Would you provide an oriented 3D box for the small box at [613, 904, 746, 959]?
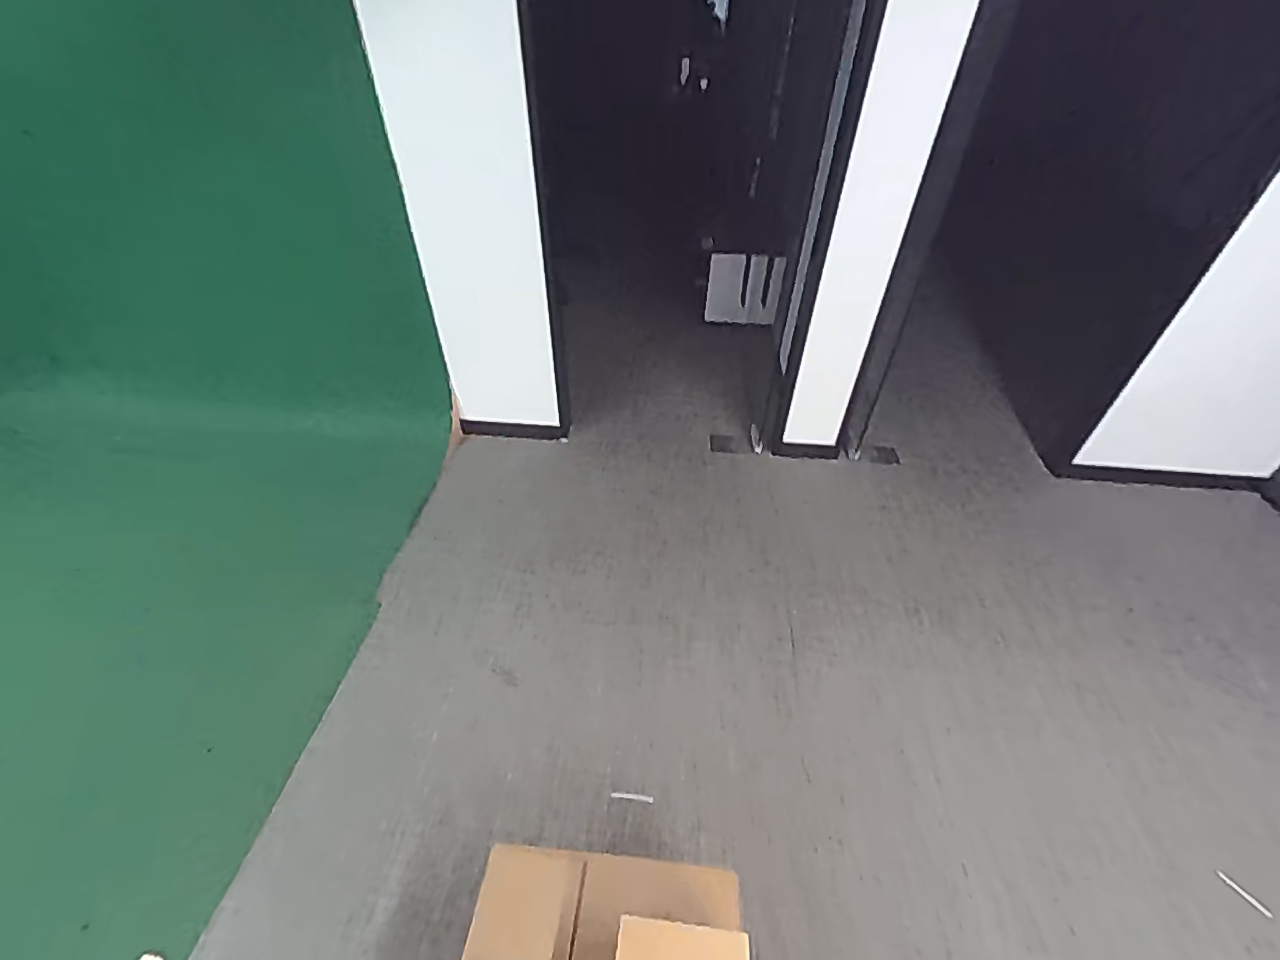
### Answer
[{"bbox_3d":[0.041,0.677,0.688,0.168,0.176,0.179,5,43,5],"label":"small box"}]
